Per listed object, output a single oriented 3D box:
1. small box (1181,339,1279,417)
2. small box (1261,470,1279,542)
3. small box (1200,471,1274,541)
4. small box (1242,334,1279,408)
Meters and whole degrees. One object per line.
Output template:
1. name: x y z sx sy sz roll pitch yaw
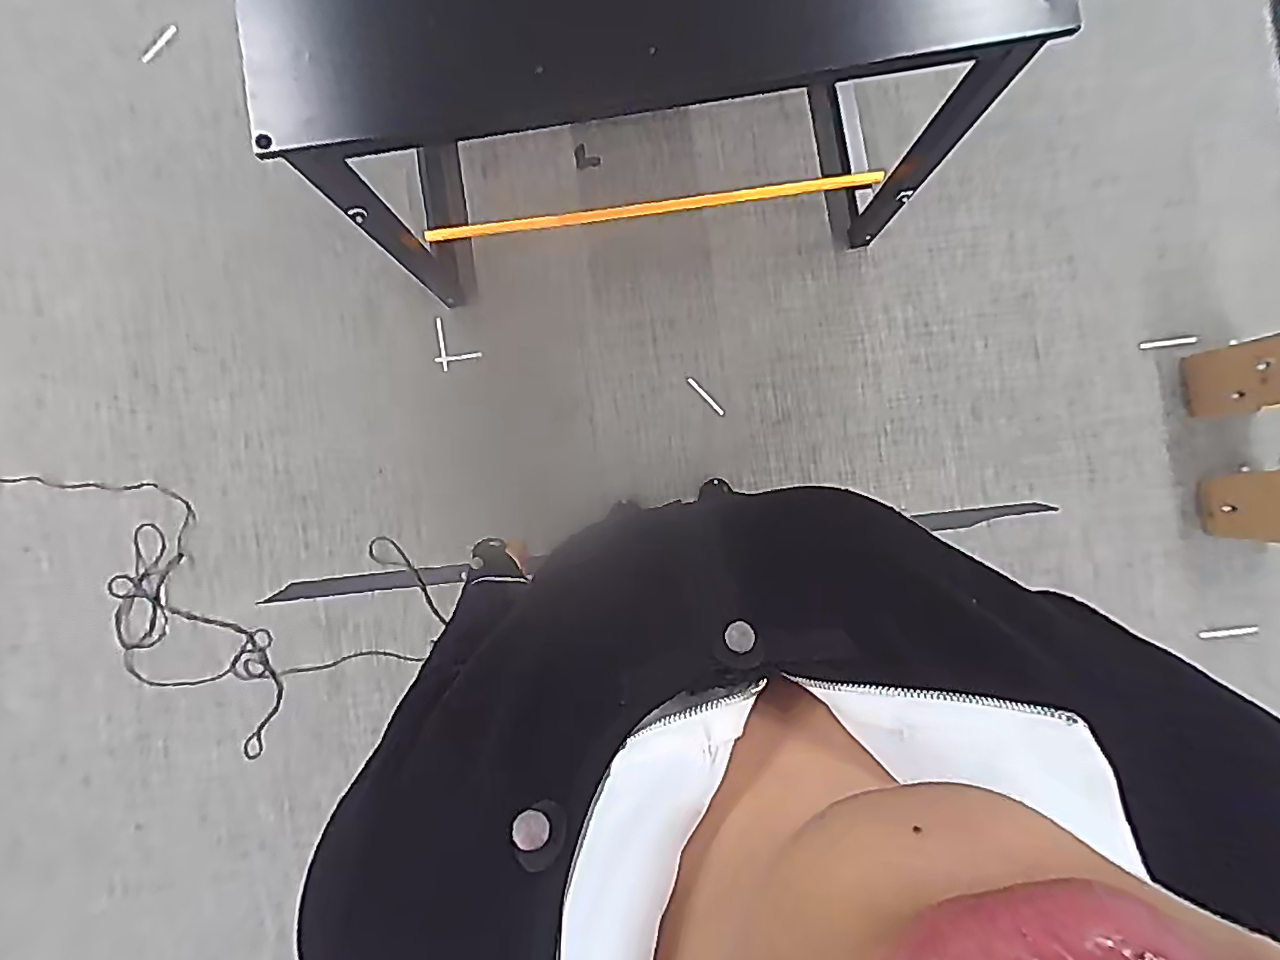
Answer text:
1. small box: 1.566 -0.262 1.393 0.168 0.176 0.179 -9 88 1
2. small box: 1.583 0.055 1.225 0.168 0.176 0.179 -8 90 1
3. small box: 1.604 0.064 1.390 0.179 0.176 0.168 -6 90 2
4. small box: 1.557 -0.266 1.231 0.179 0.176 0.168 -9 87 2
